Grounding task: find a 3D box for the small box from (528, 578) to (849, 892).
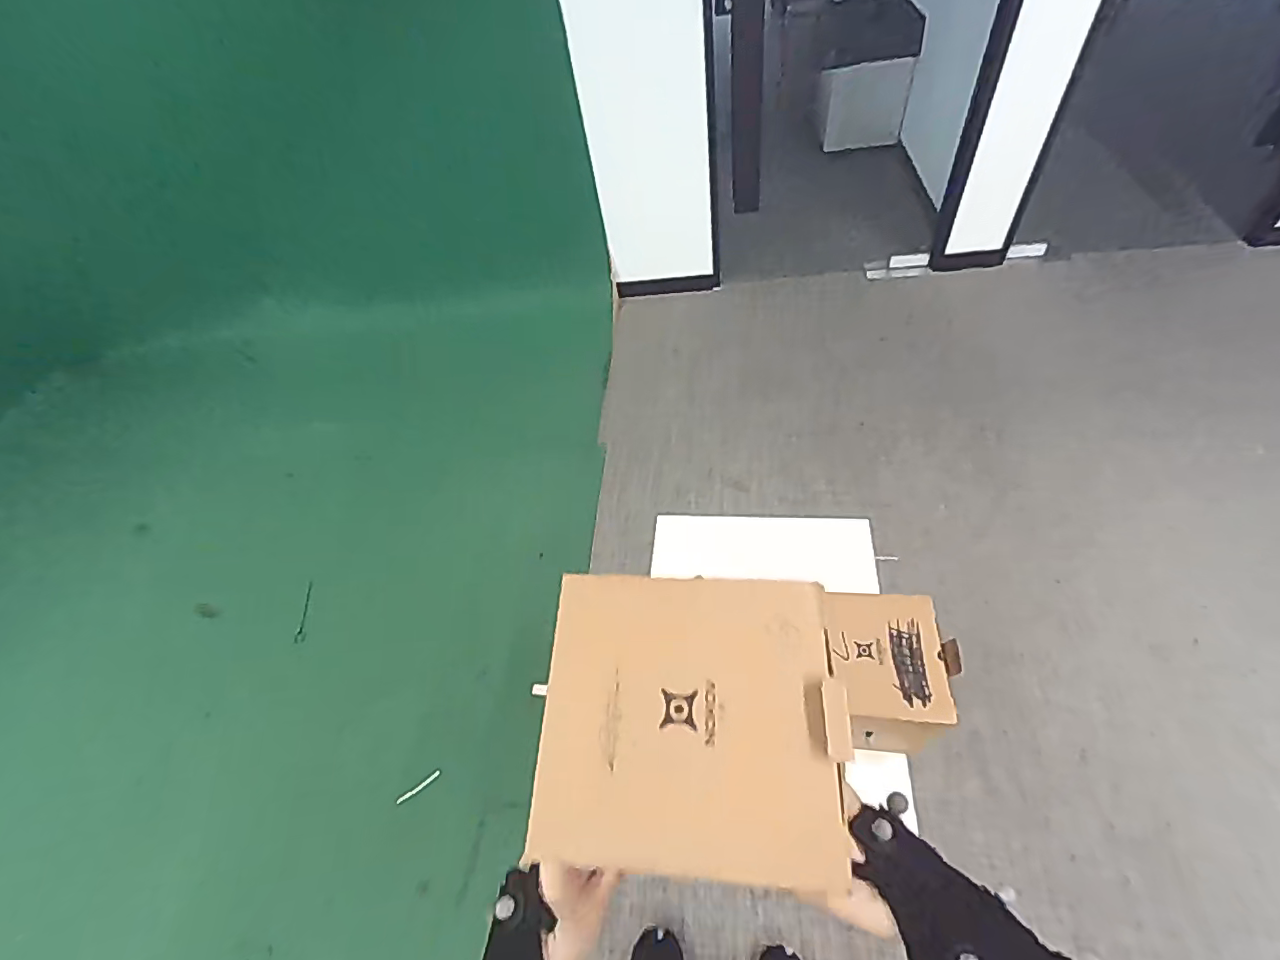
[{"bbox_3d":[0.039,0.179,0.397,0.179,0.176,0.168,-1,60,9],"label":"small box"}]
